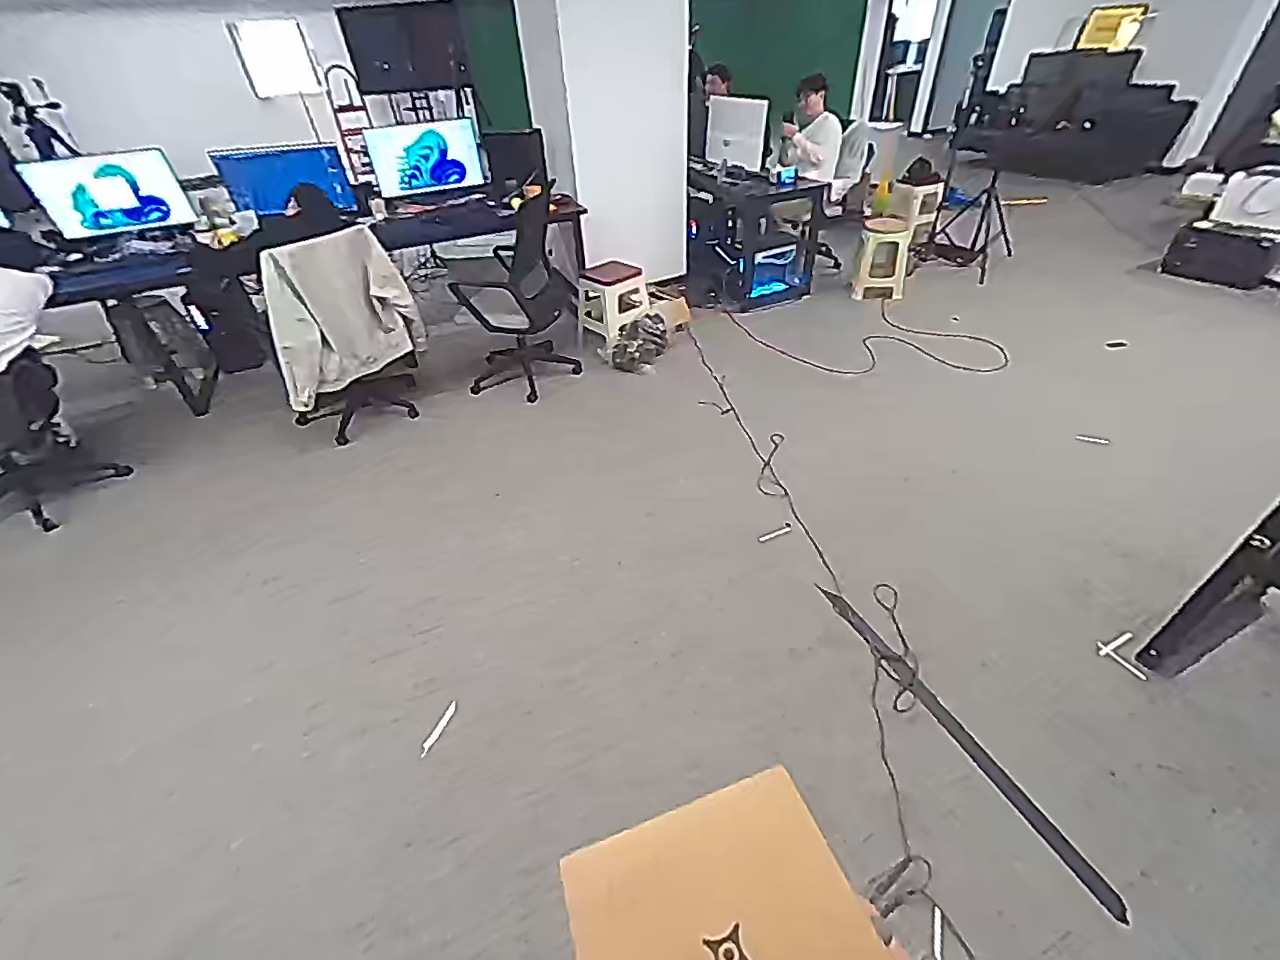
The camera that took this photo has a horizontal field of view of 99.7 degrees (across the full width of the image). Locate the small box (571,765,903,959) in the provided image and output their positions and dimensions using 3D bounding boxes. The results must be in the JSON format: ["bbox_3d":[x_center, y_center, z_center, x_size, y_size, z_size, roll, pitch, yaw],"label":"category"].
[{"bbox_3d":[0.066,0.331,0.344,0.168,0.176,0.179,-17,36,-11],"label":"small box"}]
